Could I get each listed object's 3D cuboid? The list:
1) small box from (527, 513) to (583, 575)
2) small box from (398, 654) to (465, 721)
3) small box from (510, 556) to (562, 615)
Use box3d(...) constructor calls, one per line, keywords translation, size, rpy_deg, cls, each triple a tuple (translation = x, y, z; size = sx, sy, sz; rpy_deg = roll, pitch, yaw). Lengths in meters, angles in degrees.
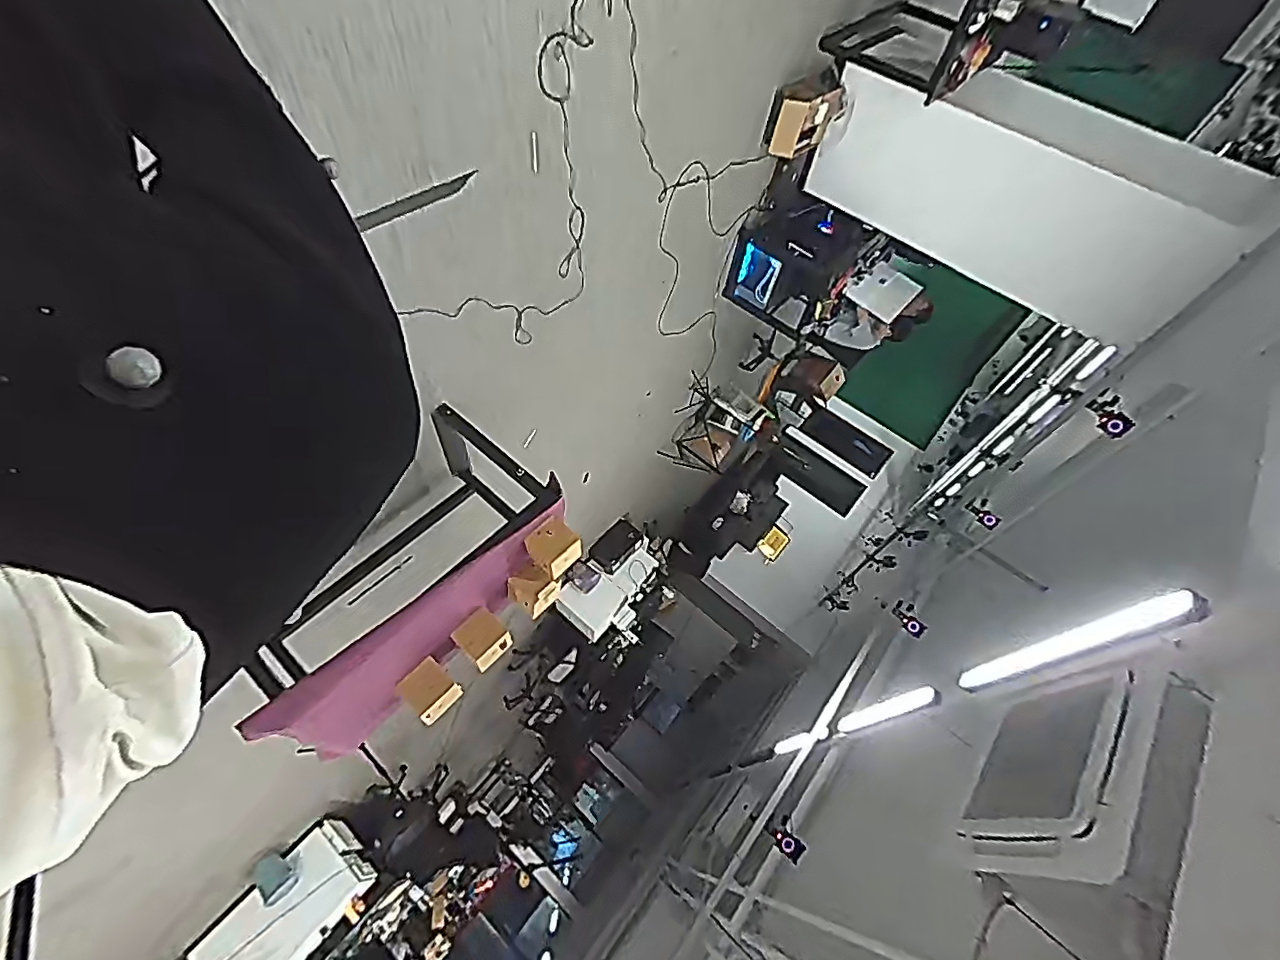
box3d(translation=(-0.361, 0.270, 2.303), size=(0.168, 0.176, 0.179), rpy_deg=(-42, 161, -24), cls="small box")
box3d(translation=(-0.846, 0.839, 2.195), size=(0.179, 0.176, 0.168), rpy_deg=(-44, 159, -29), cls="small box")
box3d(translation=(-0.469, 0.469, 2.435), size=(0.168, 0.176, 0.179), rpy_deg=(-40, 160, -34), cls="small box")
